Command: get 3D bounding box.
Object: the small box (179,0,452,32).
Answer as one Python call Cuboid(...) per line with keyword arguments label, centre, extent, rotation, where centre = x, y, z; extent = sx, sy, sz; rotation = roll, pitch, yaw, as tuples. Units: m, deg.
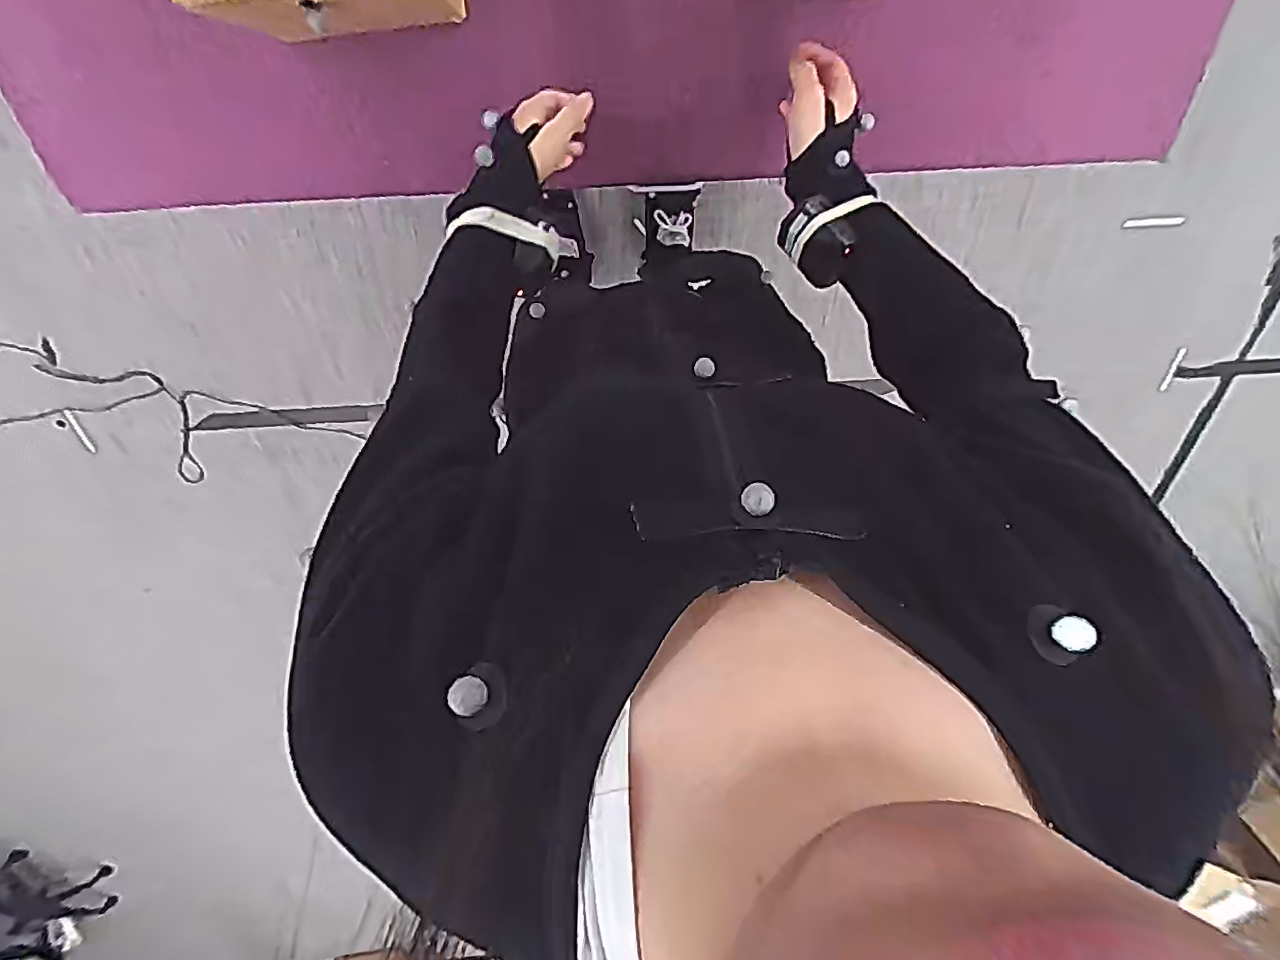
Cuboid(label="small box", centre=(-0.249, -0.453, 0.399), extent=(0.179, 0.176, 0.168), rotation=(-6, 123, 0))
